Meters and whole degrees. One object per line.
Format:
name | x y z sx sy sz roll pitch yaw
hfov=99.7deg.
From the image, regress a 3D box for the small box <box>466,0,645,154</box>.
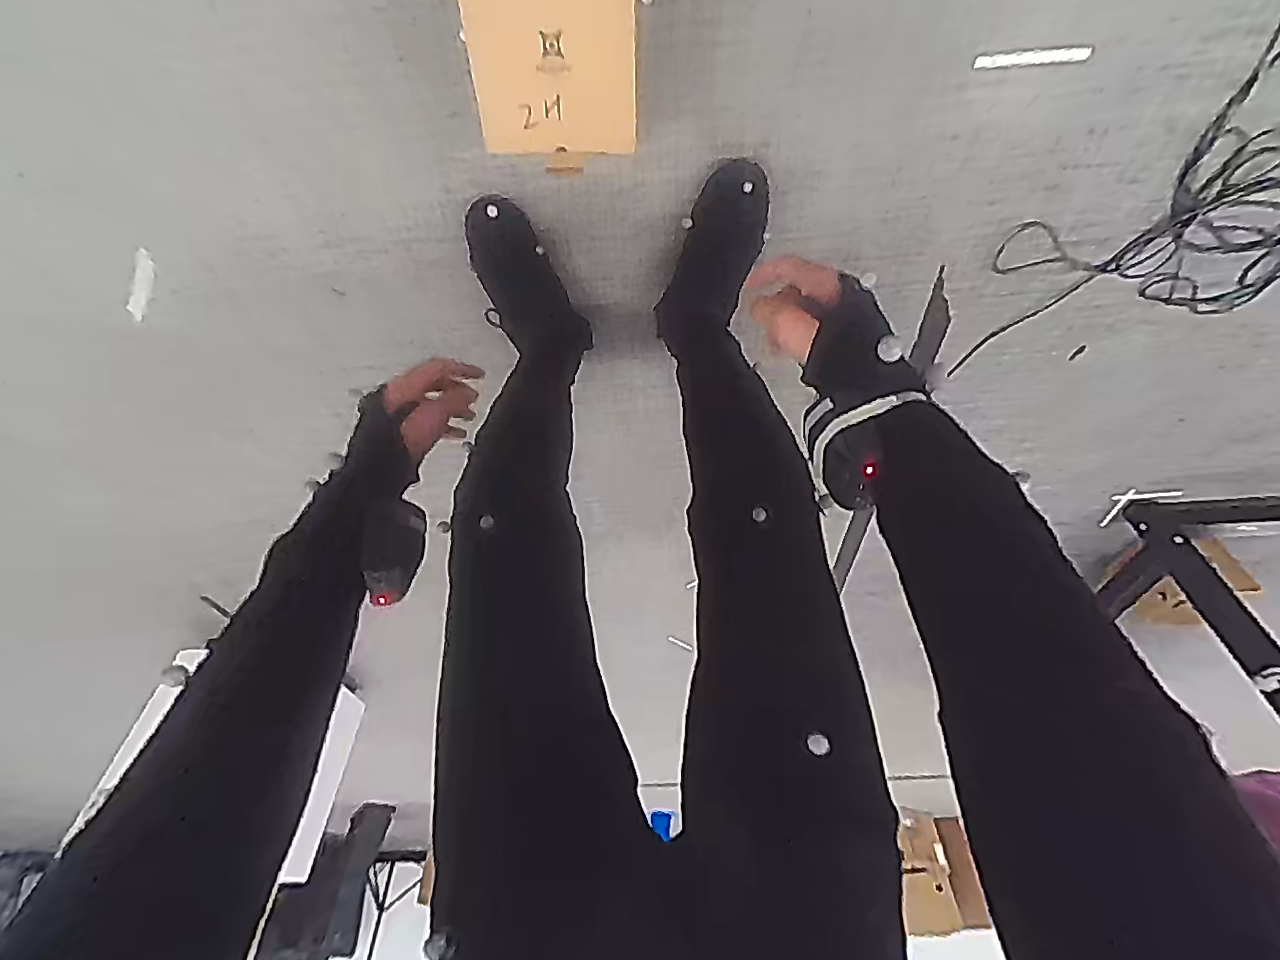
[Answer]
small box | -0.079 -0.473 0.578 0.168 0.176 0.179 1 138 1
